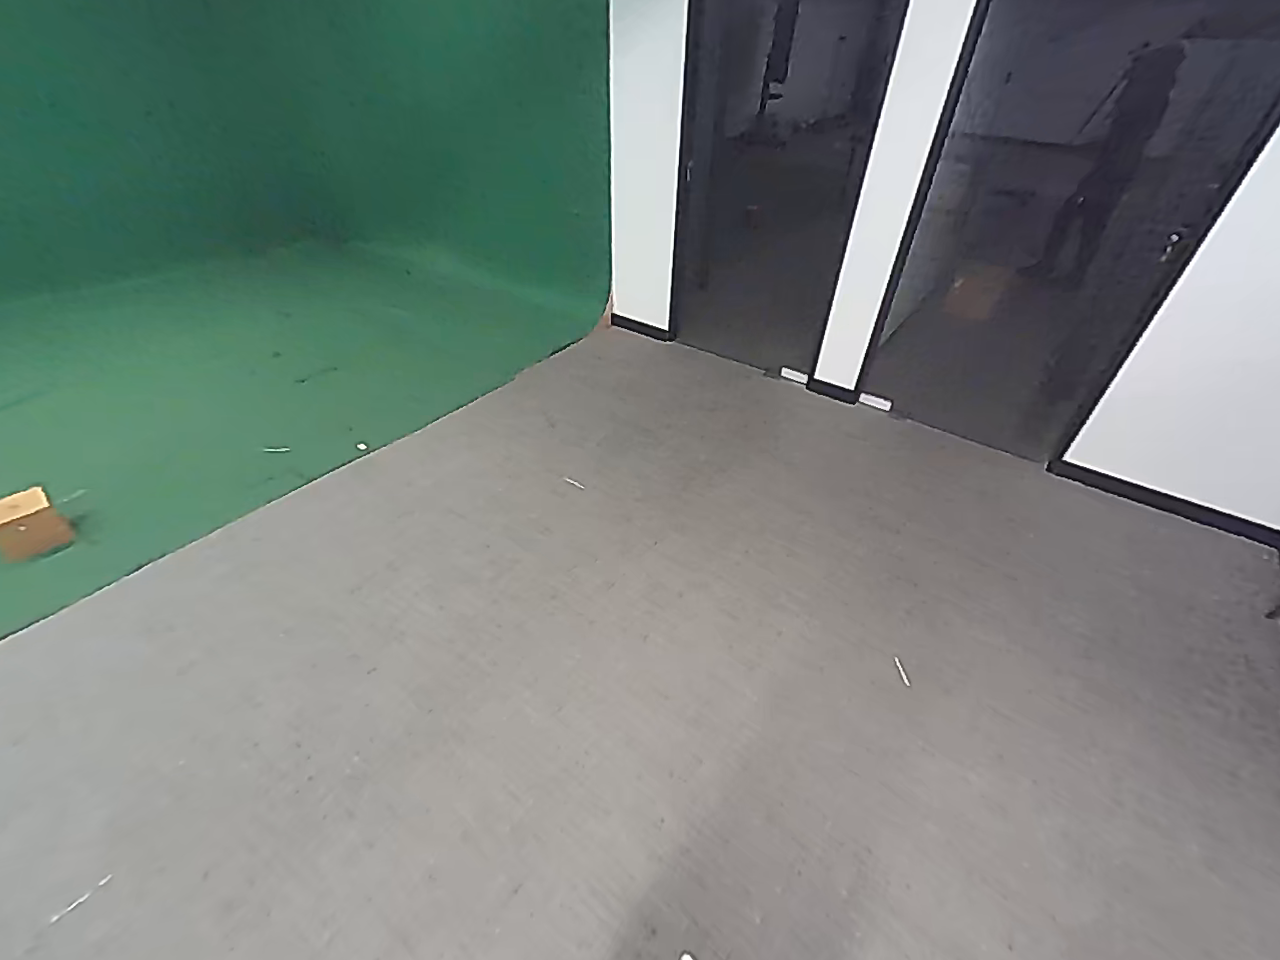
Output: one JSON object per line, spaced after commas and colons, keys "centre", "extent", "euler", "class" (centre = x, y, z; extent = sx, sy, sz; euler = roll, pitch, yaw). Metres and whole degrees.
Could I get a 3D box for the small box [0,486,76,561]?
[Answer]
{"centre": [-2.210, 0.159, 1.962], "extent": [0.168, 0.176, 0.179], "euler": [30, 47, 29], "class": "small box"}
